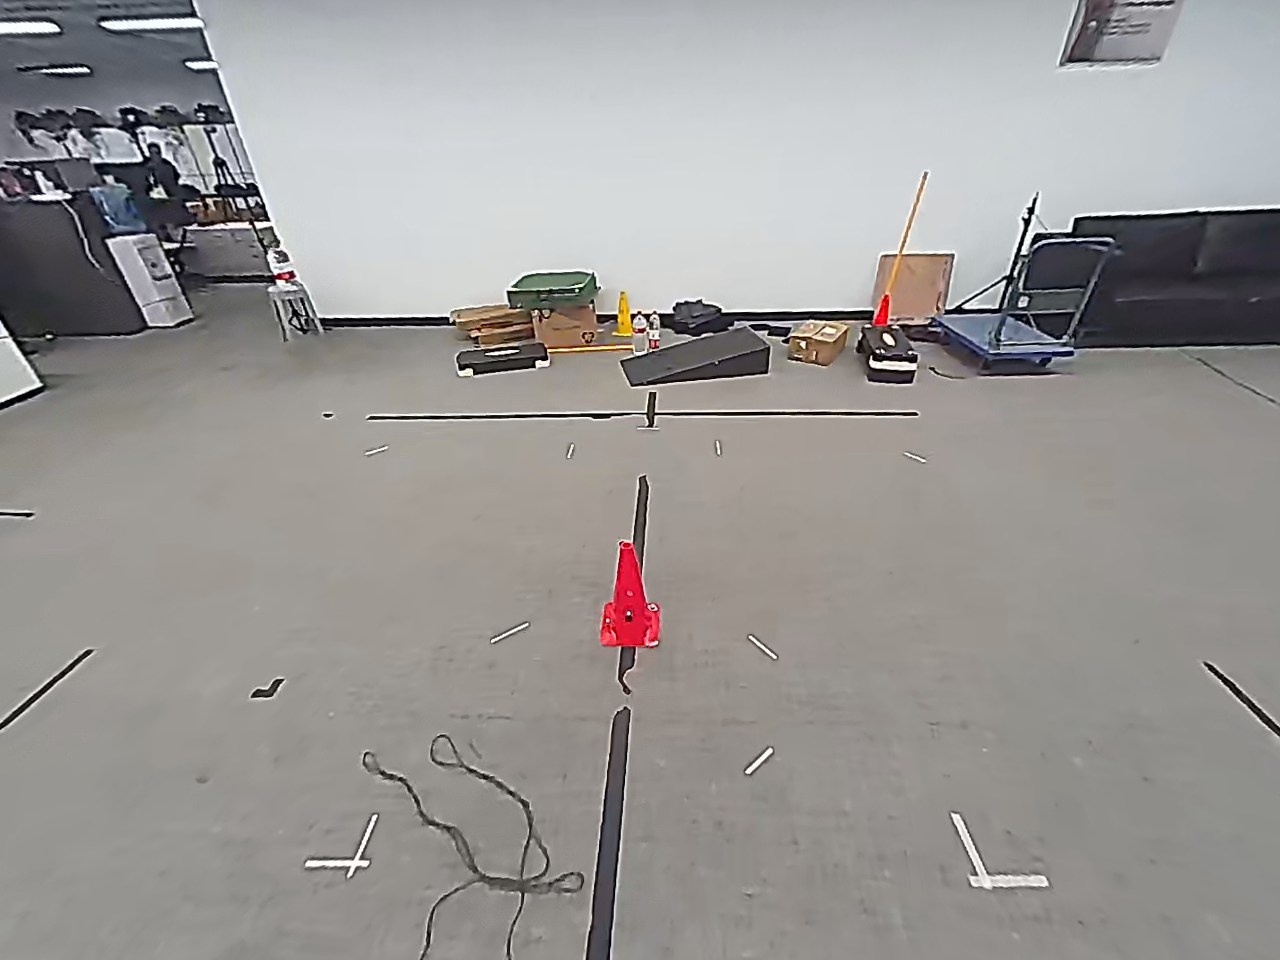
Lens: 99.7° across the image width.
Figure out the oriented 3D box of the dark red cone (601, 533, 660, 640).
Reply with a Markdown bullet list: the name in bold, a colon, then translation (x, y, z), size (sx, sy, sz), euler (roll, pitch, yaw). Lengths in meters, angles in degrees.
- **dark red cone**: translation (-0.038, 0.335, 1.781), size (0.201, 0.394, 0.202), euler (-1, 33, 3)
